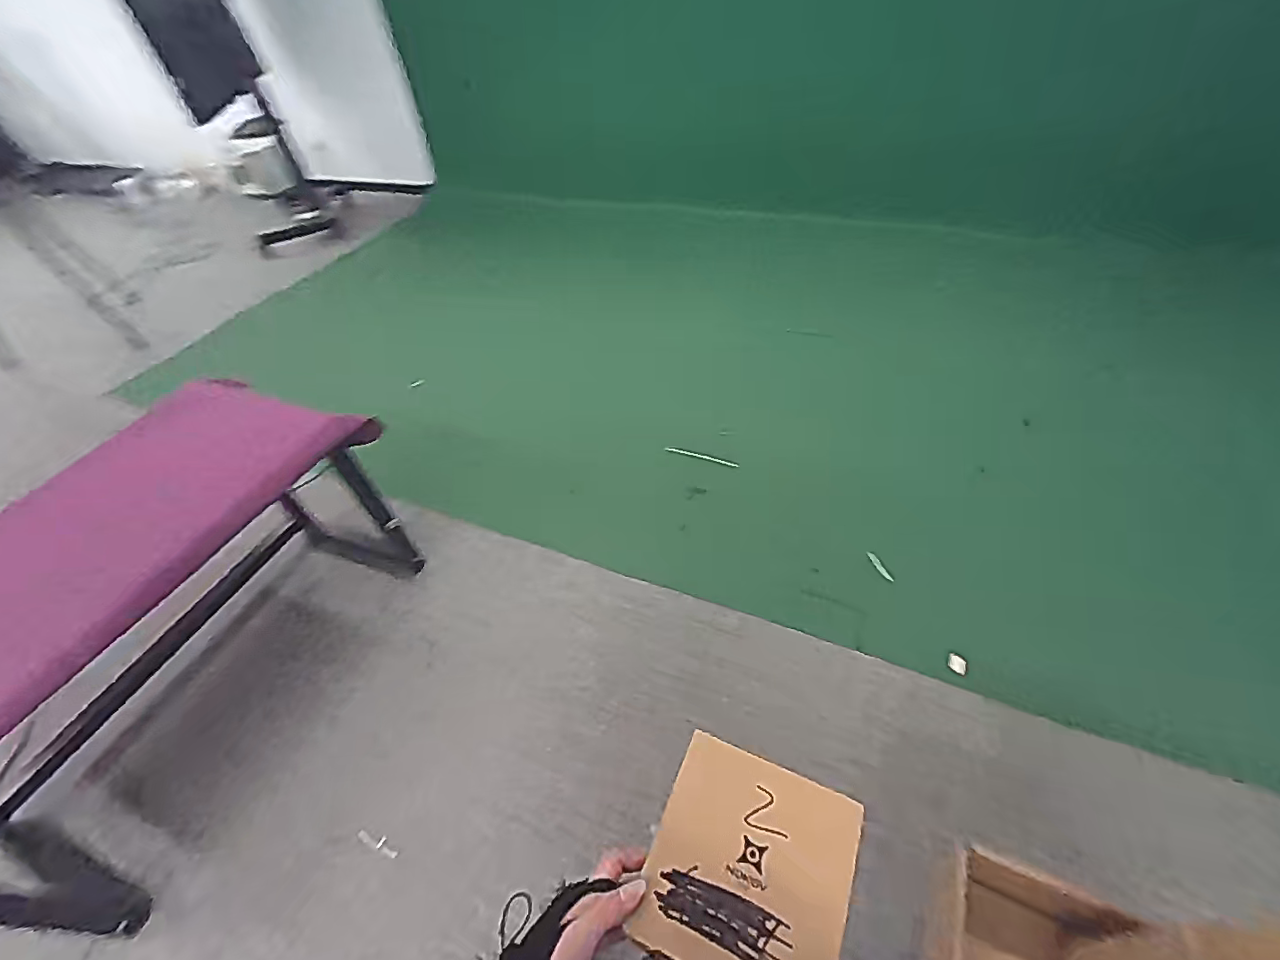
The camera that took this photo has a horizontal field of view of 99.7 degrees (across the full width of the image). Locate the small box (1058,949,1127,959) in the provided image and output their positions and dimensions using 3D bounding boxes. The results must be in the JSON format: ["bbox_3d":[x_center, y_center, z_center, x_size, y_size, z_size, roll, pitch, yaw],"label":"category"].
[{"bbox_3d":[0.704,0.783,0.735,0.179,0.176,0.168,17,51,21],"label":"small box"}]

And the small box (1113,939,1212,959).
[{"bbox_3d":[0.689,0.672,0.616,0.179,0.176,0.168,19,51,23],"label":"small box"}]
